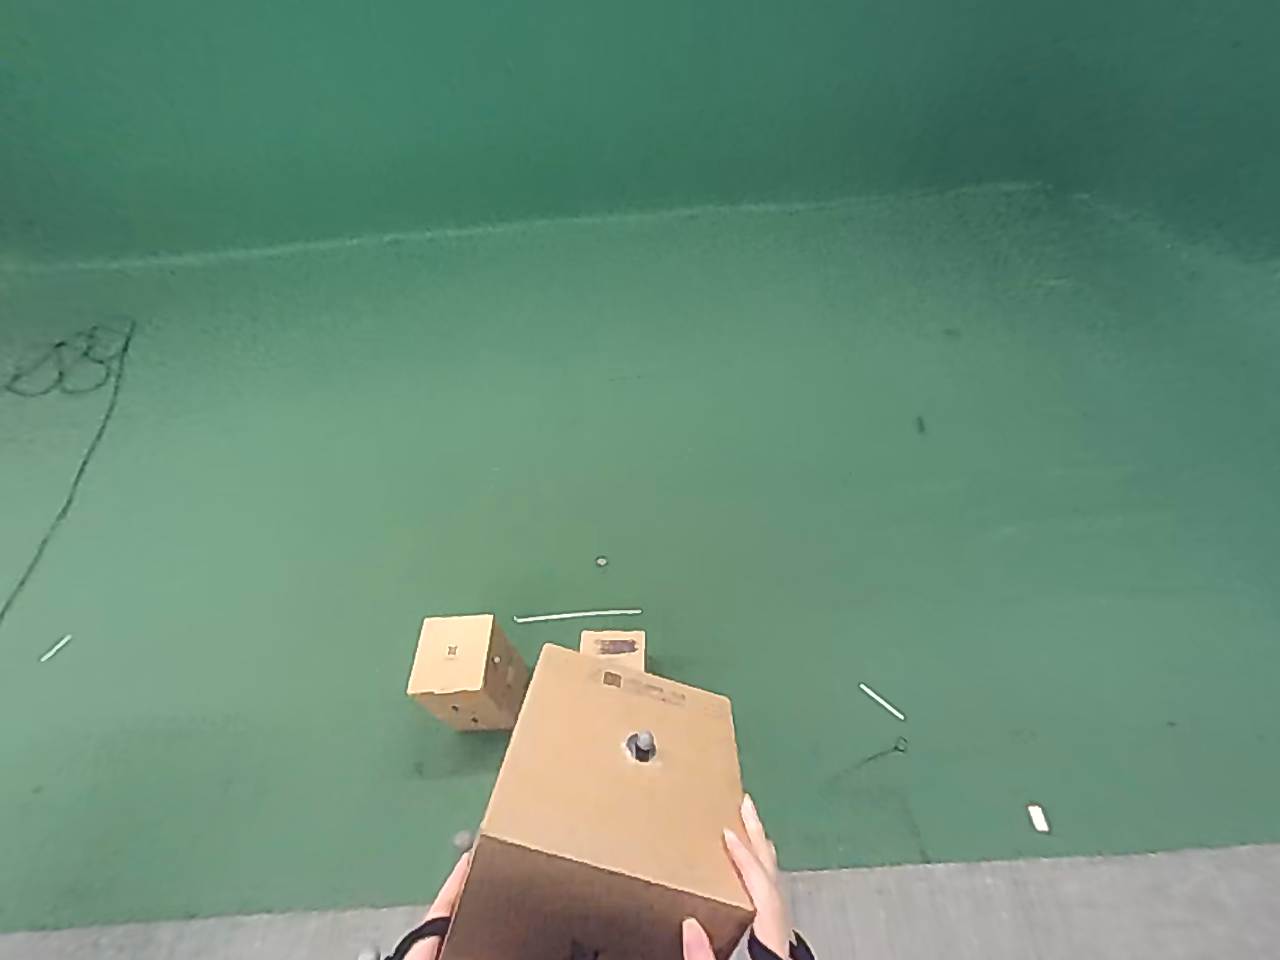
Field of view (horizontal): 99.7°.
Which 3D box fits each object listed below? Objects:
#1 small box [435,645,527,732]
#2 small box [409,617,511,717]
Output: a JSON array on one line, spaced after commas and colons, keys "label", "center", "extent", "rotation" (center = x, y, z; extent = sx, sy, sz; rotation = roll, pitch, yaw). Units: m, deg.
[{"label": "small box", "center": [-0.399, 0.540, 1.395], "extent": [0.179, 0.176, 0.168], "rotation": [-5, 51, 4]}, {"label": "small box", "center": [-0.410, 0.440, 1.267], "extent": [0.168, 0.176, 0.179], "rotation": [-4, 51, 3]}]
